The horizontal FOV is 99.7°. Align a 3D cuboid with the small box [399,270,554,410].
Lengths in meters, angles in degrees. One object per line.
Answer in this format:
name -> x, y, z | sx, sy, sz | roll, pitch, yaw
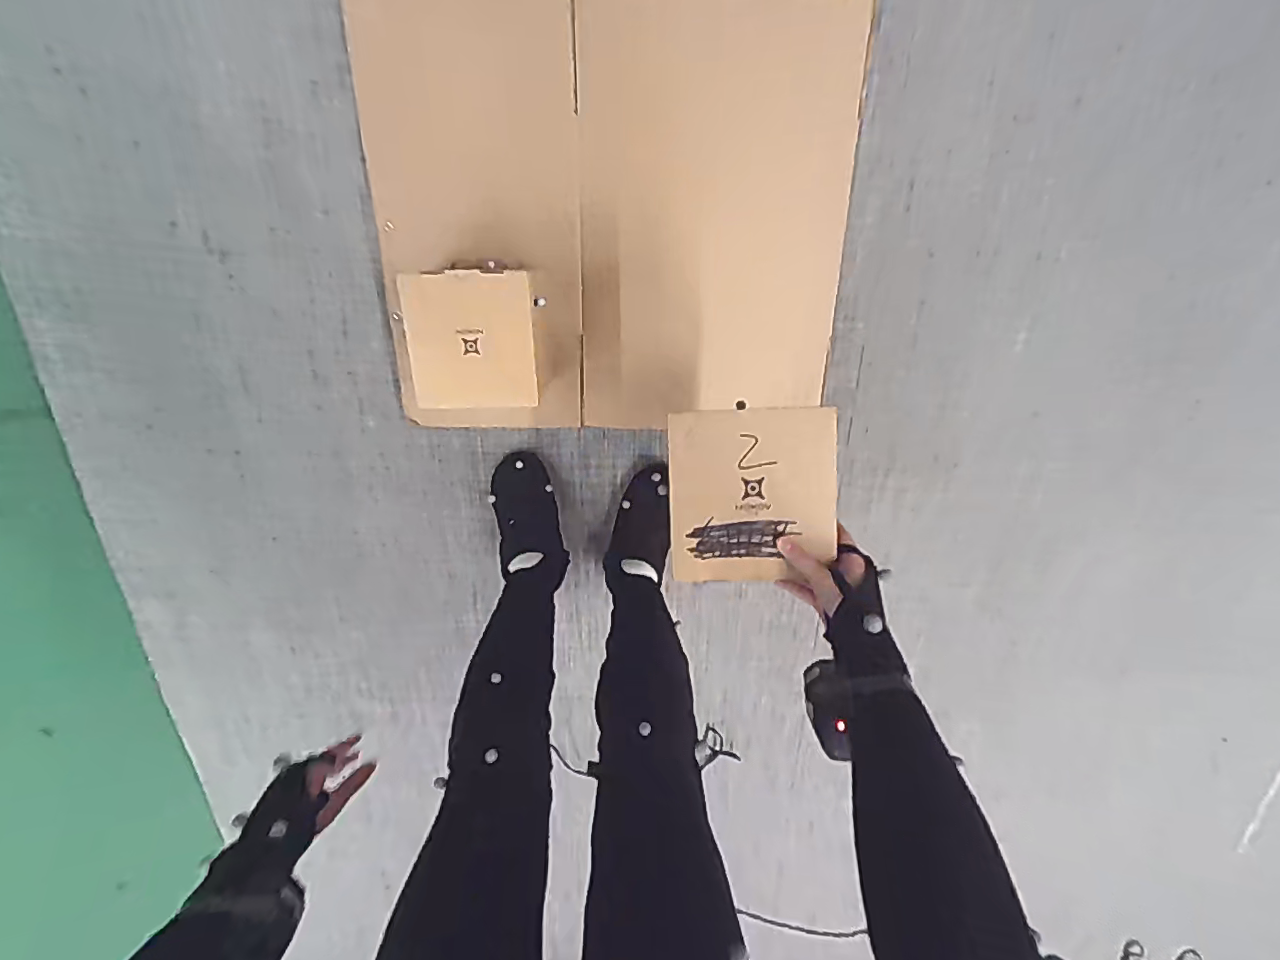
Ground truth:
small box -> -0.217, -0.205, 0.771 | 0.168, 0.176, 0.179 | -2, 110, -2
